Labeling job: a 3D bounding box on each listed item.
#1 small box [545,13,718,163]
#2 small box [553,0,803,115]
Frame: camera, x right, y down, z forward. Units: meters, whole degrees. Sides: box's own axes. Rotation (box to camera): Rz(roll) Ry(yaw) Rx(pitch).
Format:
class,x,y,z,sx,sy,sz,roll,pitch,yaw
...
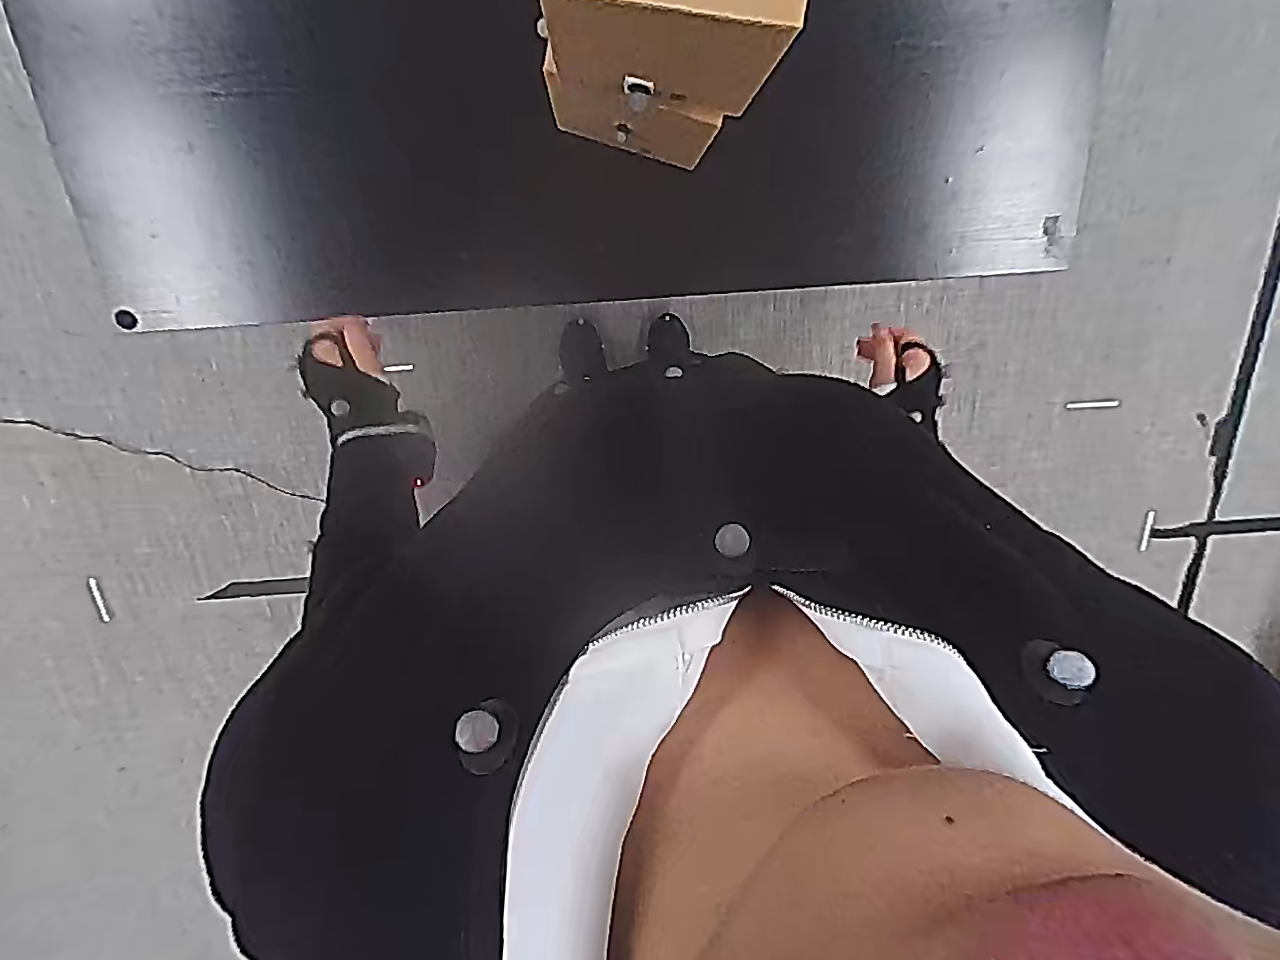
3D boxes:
class,x,y,z,sx,sy,sz,roll,pitch,yaw
small box,0.010,-0.449,0.543,0.168,0.176,0.179,13,106,-8
small box,0.025,-0.398,0.389,0.168,0.176,0.179,4,108,-4
